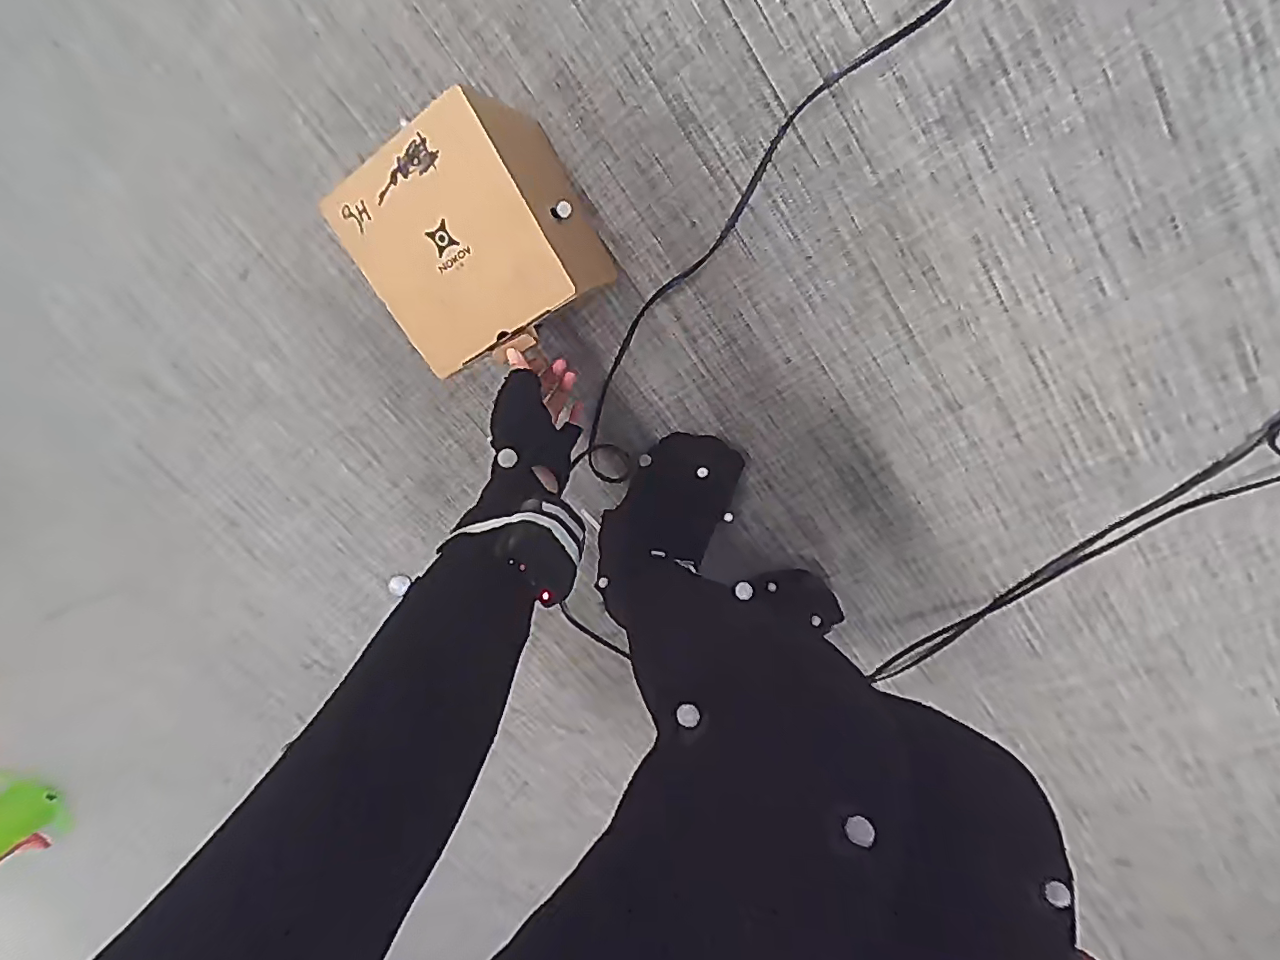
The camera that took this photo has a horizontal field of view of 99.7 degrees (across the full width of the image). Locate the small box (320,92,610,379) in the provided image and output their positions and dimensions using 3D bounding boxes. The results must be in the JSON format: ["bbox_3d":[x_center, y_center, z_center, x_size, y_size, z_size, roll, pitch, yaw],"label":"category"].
[{"bbox_3d":[-0.149,-0.230,0.527,0.168,0.176,0.179,-23,110,20],"label":"small box"}]
